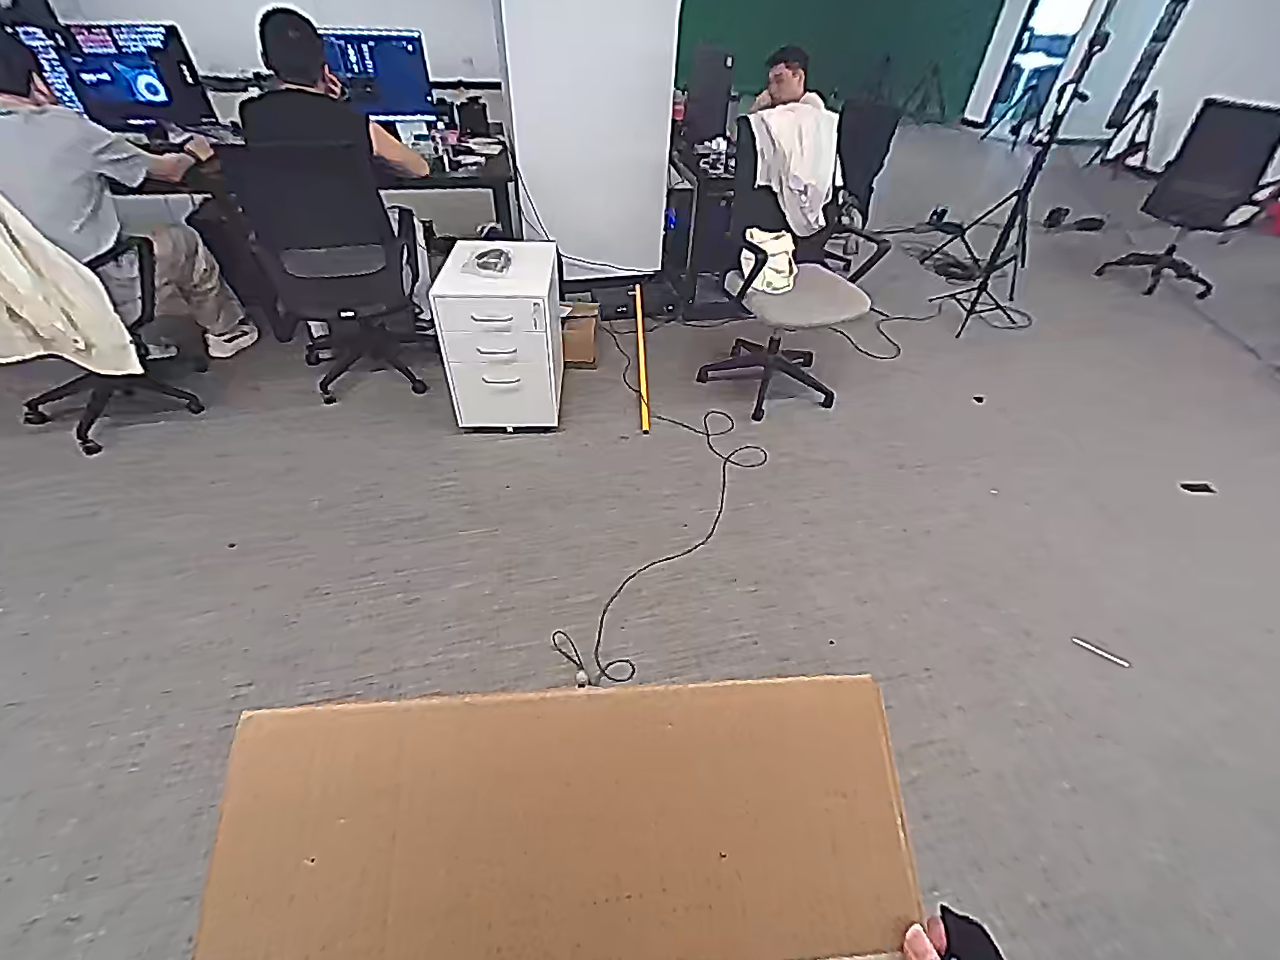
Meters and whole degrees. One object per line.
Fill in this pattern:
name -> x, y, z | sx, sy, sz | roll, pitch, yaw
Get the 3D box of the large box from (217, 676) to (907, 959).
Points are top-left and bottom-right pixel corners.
large box -> -0.044, 0.340, 0.447 | 0.408, 0.320, 0.320 | -2, 69, -4
